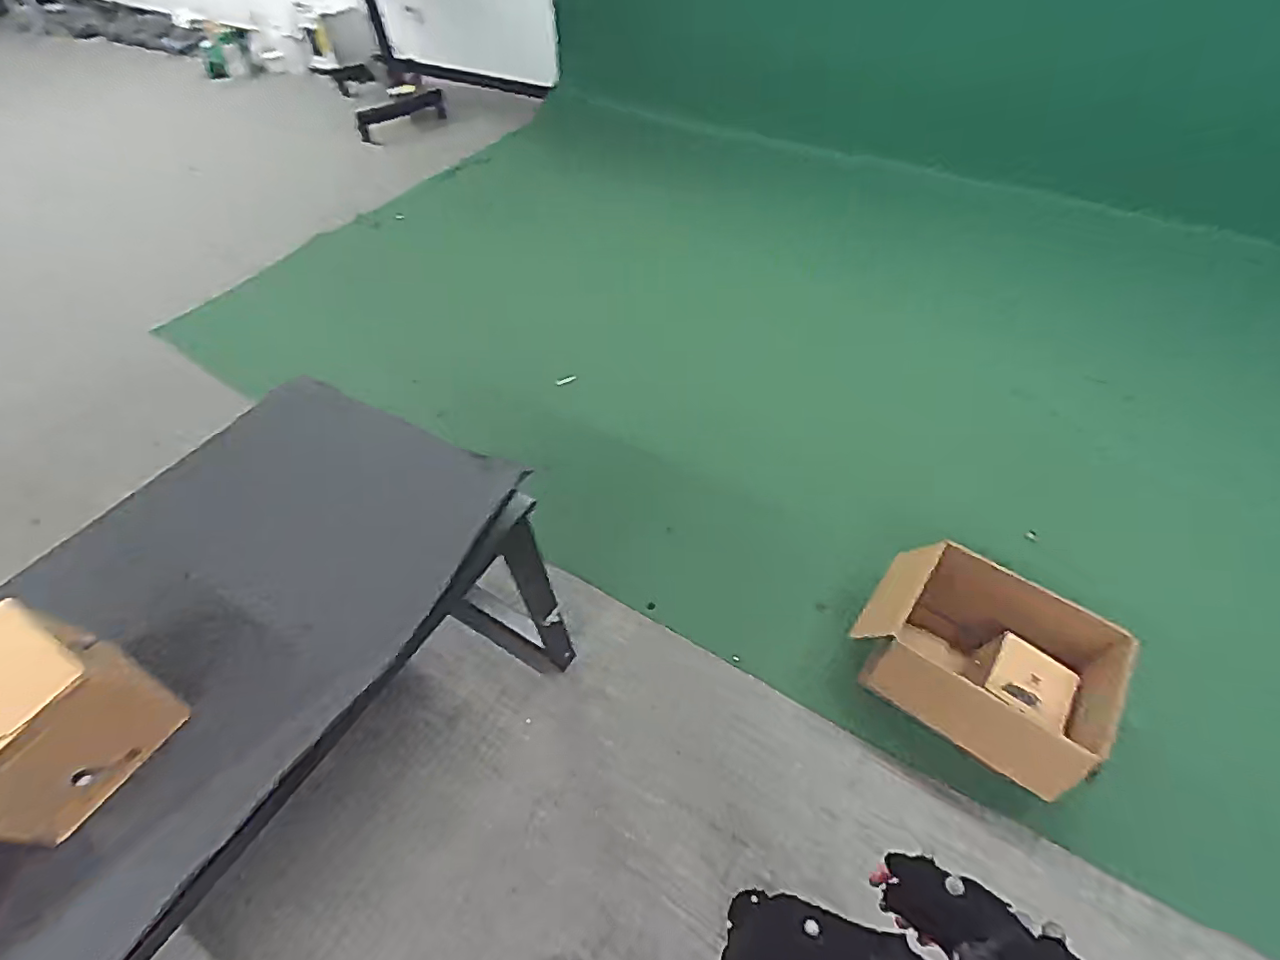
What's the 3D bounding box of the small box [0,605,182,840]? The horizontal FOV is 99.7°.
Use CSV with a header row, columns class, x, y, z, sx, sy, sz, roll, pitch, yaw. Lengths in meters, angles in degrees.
class,x,y,z,sx,sy,sz,roll,pitch,yaw
small box,-0.697,0.280,0.617,0.179,0.176,0.168,24,56,18
